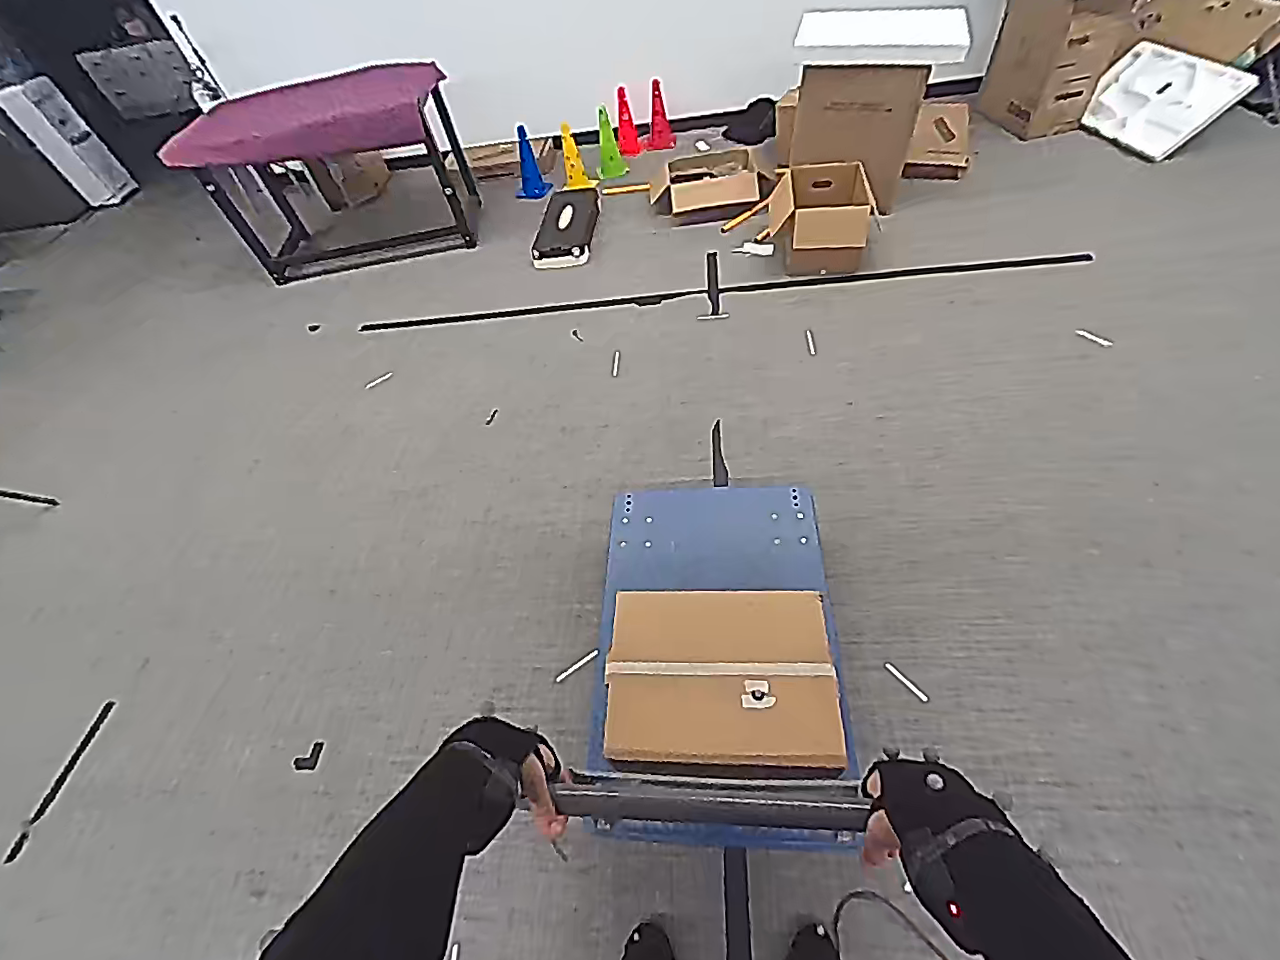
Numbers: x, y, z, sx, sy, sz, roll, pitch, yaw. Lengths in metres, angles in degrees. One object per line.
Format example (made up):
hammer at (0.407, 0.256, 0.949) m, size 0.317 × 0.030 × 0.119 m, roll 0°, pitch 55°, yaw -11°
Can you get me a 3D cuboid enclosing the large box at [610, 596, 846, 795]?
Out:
large box at (0.163, 0.450, 1.113) m, size 0.408 × 0.320 × 0.320 m, roll -2°, pitch 53°, yaw 6°
